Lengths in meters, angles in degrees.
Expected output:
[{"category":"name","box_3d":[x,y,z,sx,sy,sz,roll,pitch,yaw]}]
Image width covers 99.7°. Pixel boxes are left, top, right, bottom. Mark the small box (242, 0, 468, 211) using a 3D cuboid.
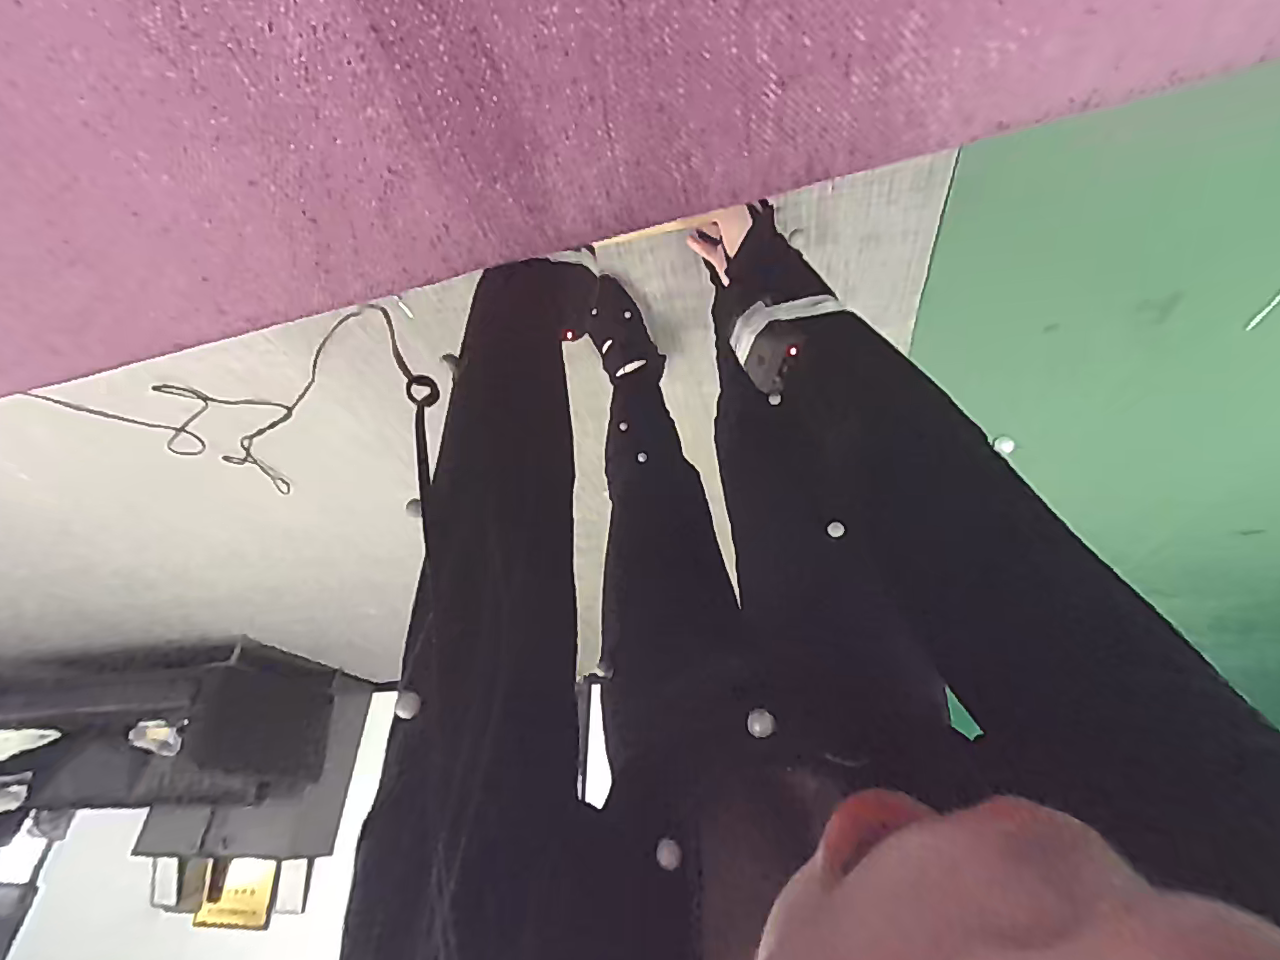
[{"category":"small box","box_3d":[-0.351,-0.491,0.704,0.179,0.176,0.168,-7,147,14]}]
